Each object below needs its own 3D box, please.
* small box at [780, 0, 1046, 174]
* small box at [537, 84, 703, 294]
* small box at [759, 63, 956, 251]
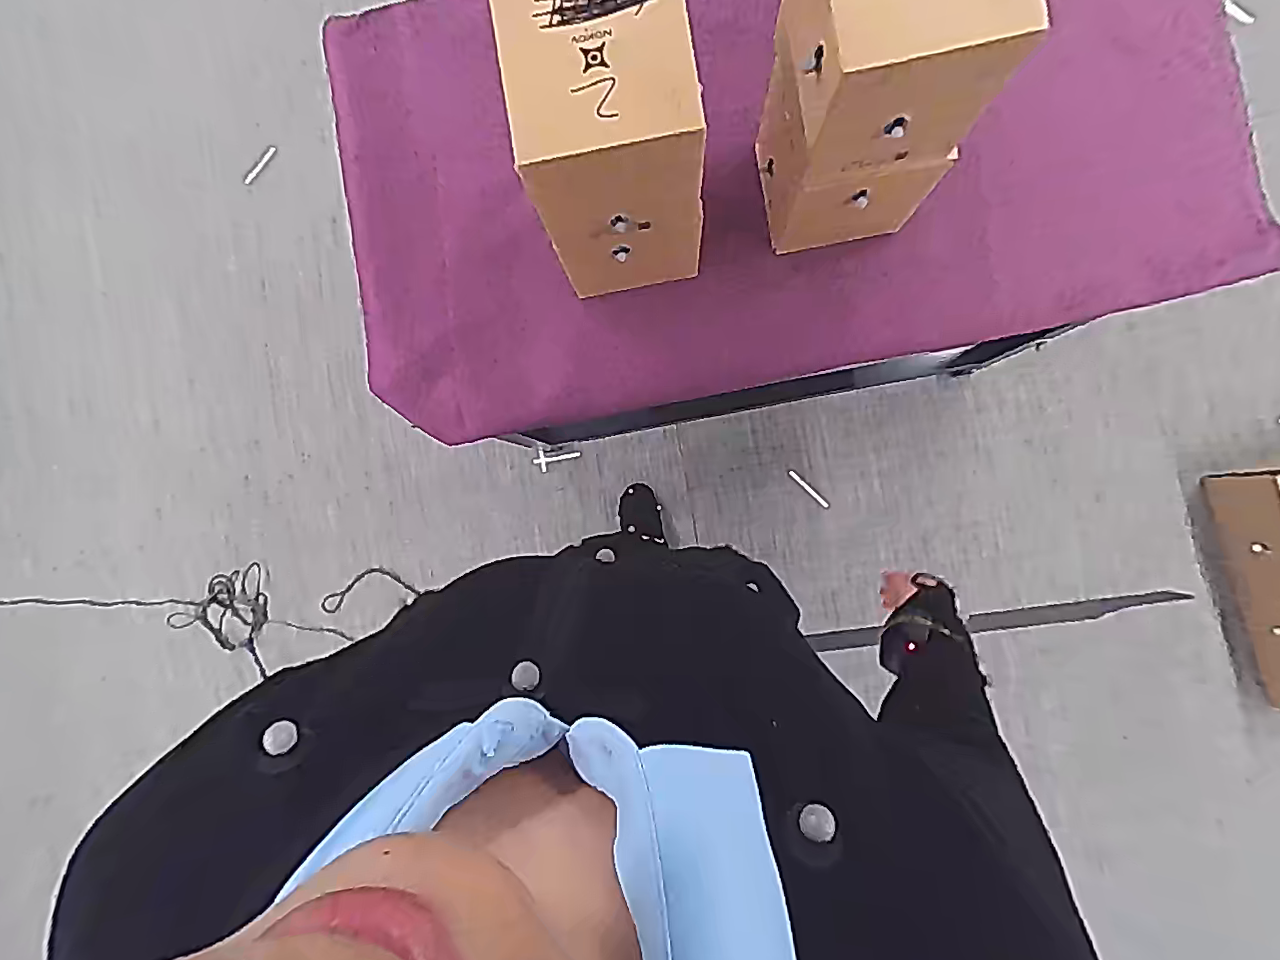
[{"bbox_3d":[0.241,-0.427,0.523,0.168,0.176,0.179,-9,87,4],"label":"small box"},{"bbox_3d":[-0.019,-0.360,0.703,0.179,0.176,0.168,-9,88,3],"label":"small box"},{"bbox_3d":[0.261,-0.416,0.686,0.179,0.176,0.168,-9,88,4],"label":"small box"}]
